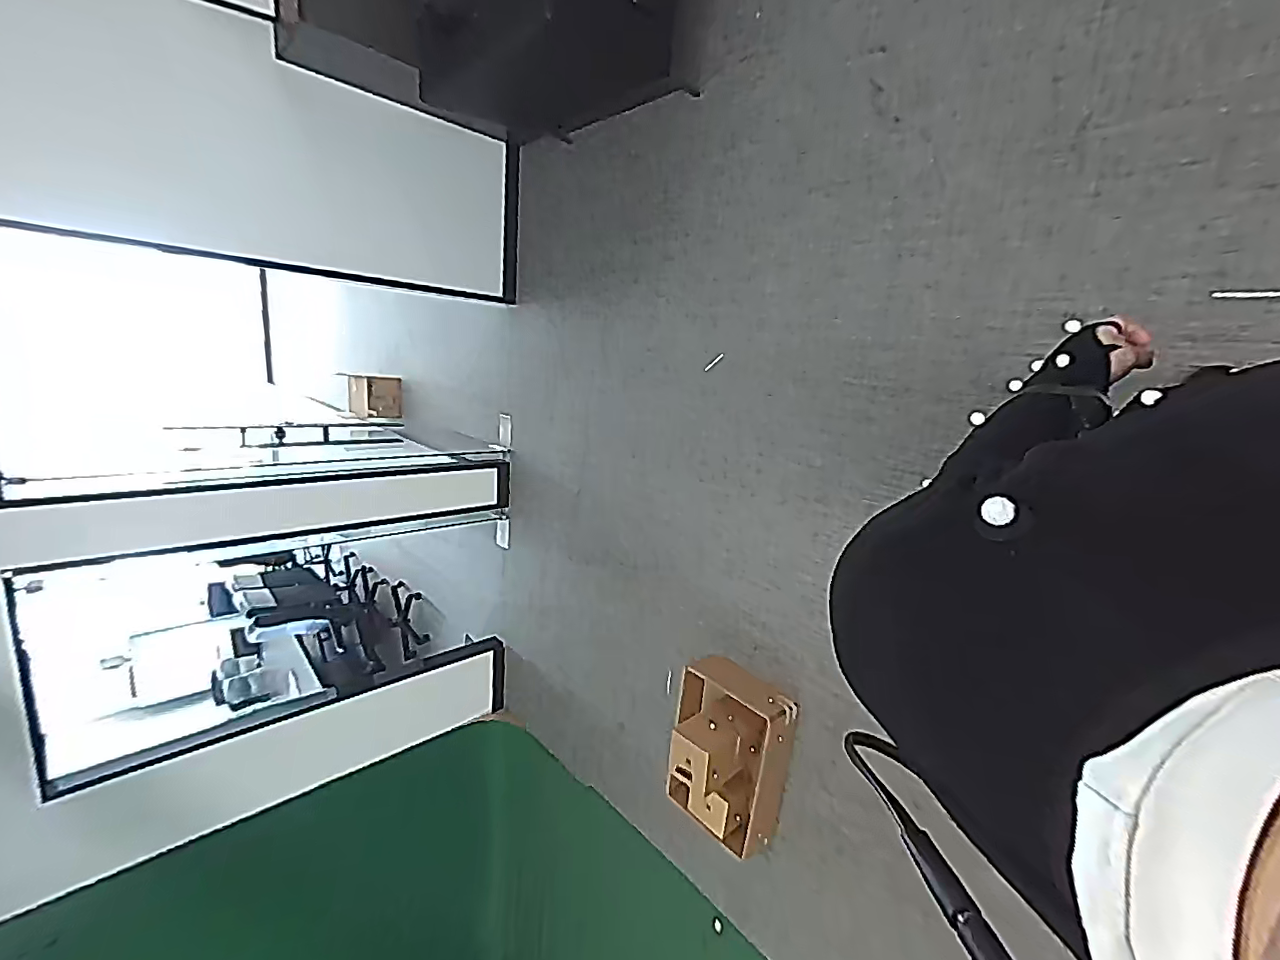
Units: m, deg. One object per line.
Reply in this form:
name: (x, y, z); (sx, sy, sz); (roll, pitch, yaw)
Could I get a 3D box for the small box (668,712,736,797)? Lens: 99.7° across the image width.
small box: (0.218, 0.954, 1.894); (0.168, 0.176, 0.179); (16, 106, 44)

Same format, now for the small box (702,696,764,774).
small box: (0.337, 0.938, 2.007); (0.179, 0.176, 0.168); (22, 111, 43)
